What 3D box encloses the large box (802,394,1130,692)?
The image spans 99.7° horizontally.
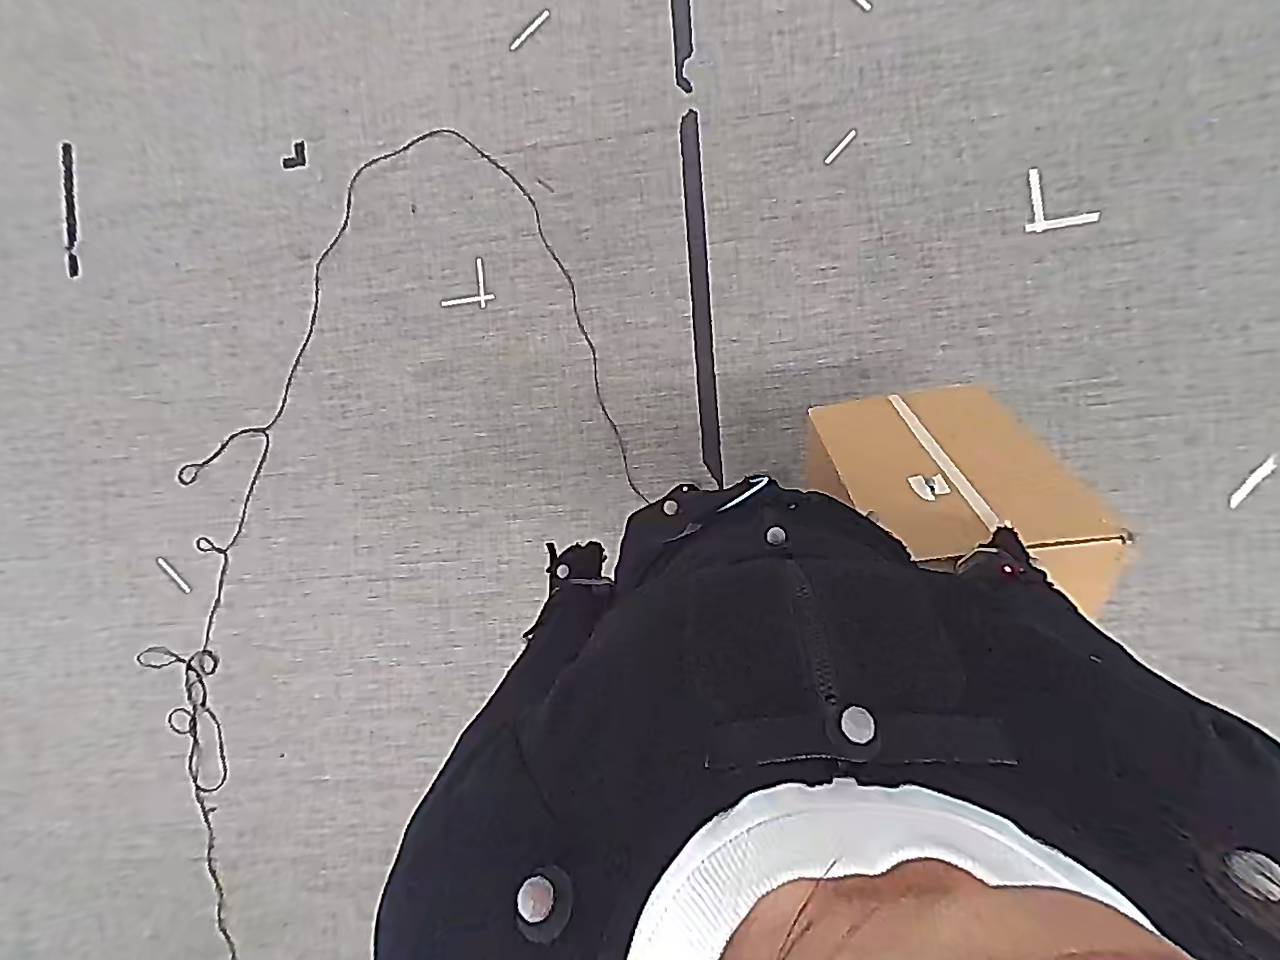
[{"bbox_3d":[0.493,0.097,0.946,0.320,0.408,0.320,-8,128,5],"label":"large box"}]
